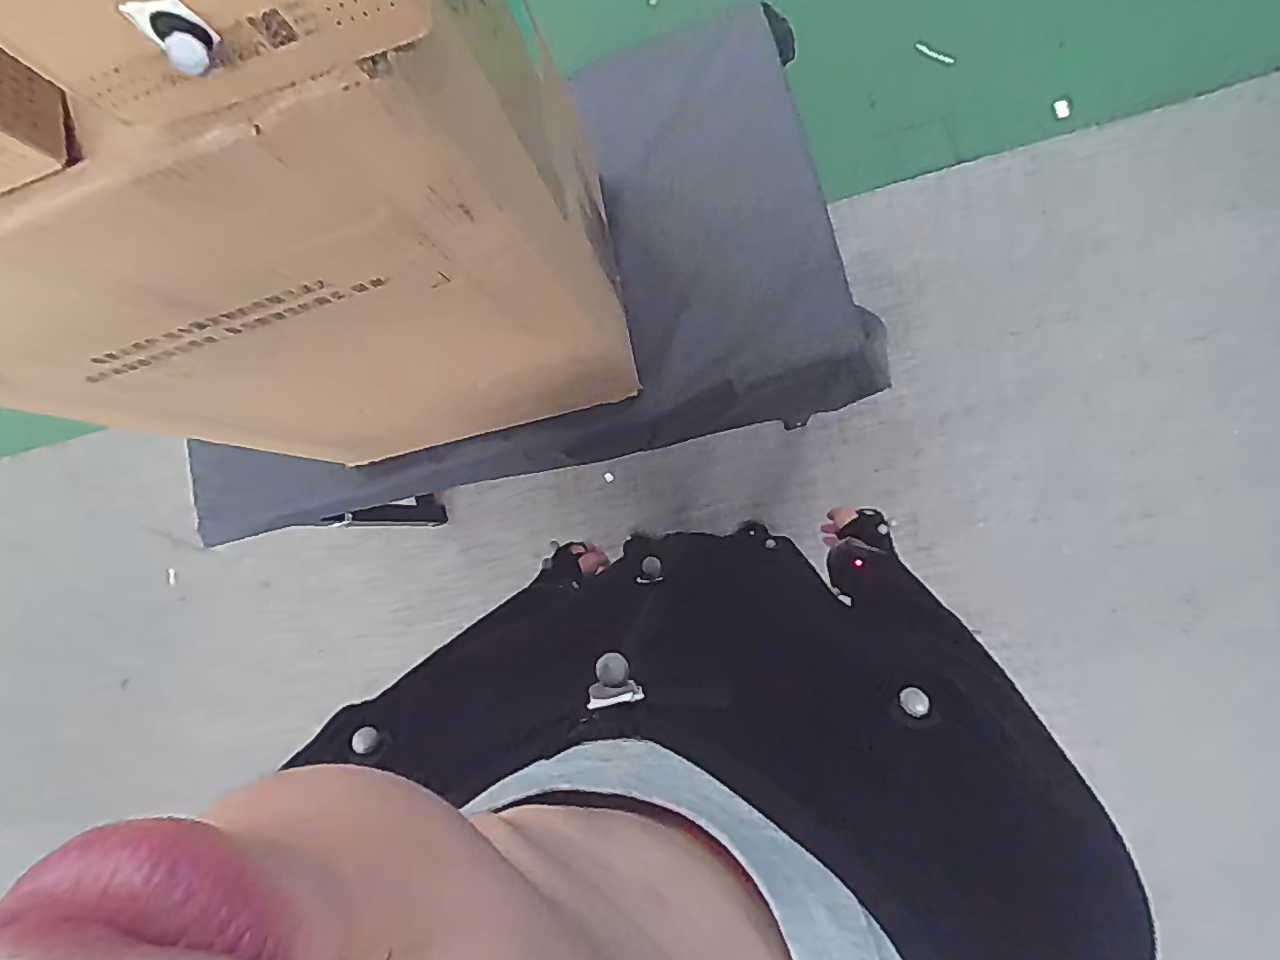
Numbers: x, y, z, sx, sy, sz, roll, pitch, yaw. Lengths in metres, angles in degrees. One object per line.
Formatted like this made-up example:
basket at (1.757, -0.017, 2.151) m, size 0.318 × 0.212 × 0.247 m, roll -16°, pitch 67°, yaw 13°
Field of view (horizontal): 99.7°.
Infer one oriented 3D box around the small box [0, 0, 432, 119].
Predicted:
small box at (-0.199, -0.283, 0.191) m, size 0.168 × 0.176 × 0.179 m, roll -12°, pitch 84°, yaw 10°
